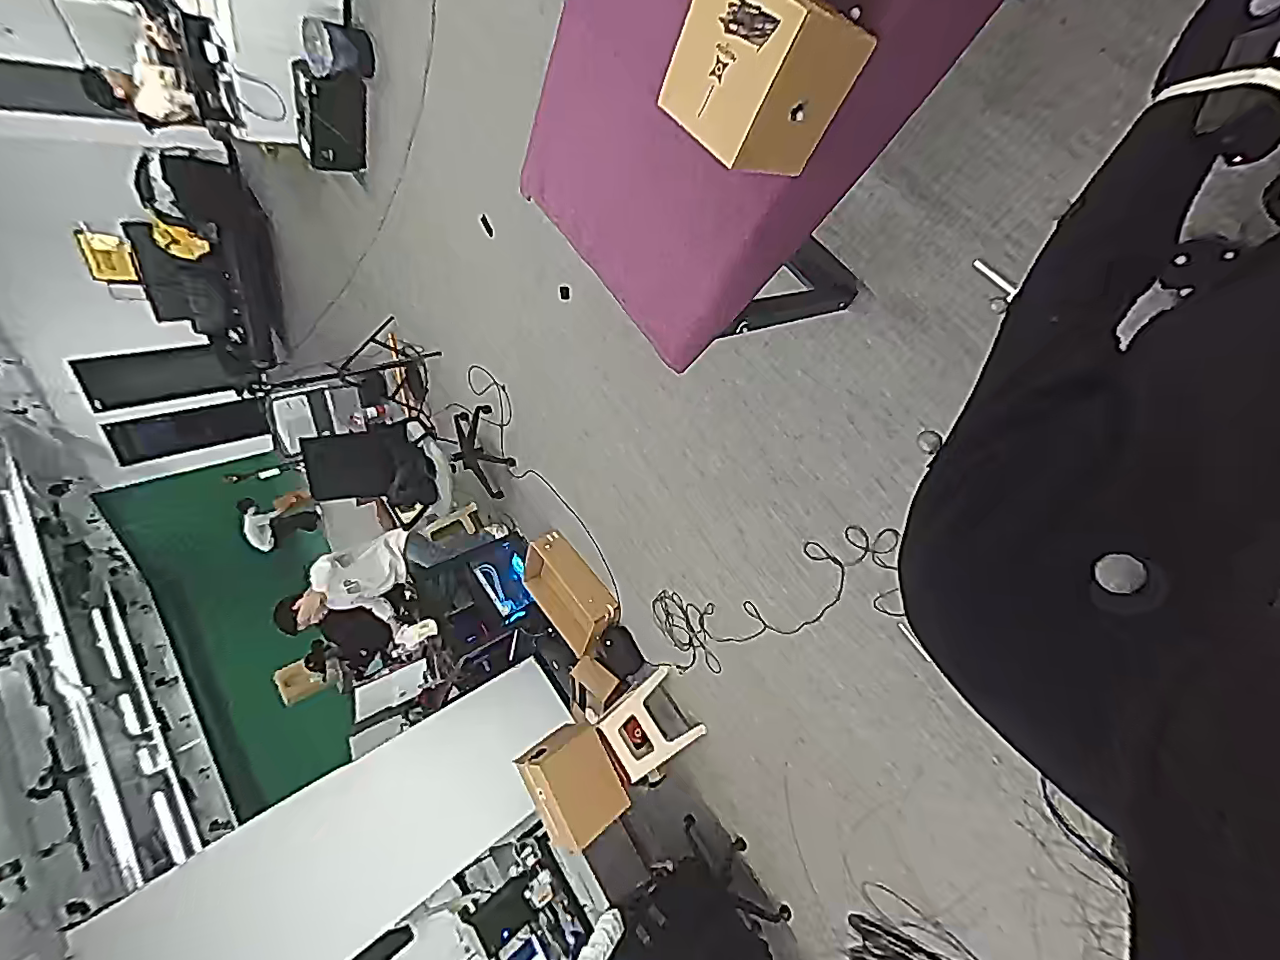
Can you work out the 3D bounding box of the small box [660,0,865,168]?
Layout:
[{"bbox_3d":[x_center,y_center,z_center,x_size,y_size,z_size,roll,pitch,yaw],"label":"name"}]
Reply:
[{"bbox_3d":[0.162,-0.541,0.709,0.168,0.176,0.179,53,141,19],"label":"small box"}]
